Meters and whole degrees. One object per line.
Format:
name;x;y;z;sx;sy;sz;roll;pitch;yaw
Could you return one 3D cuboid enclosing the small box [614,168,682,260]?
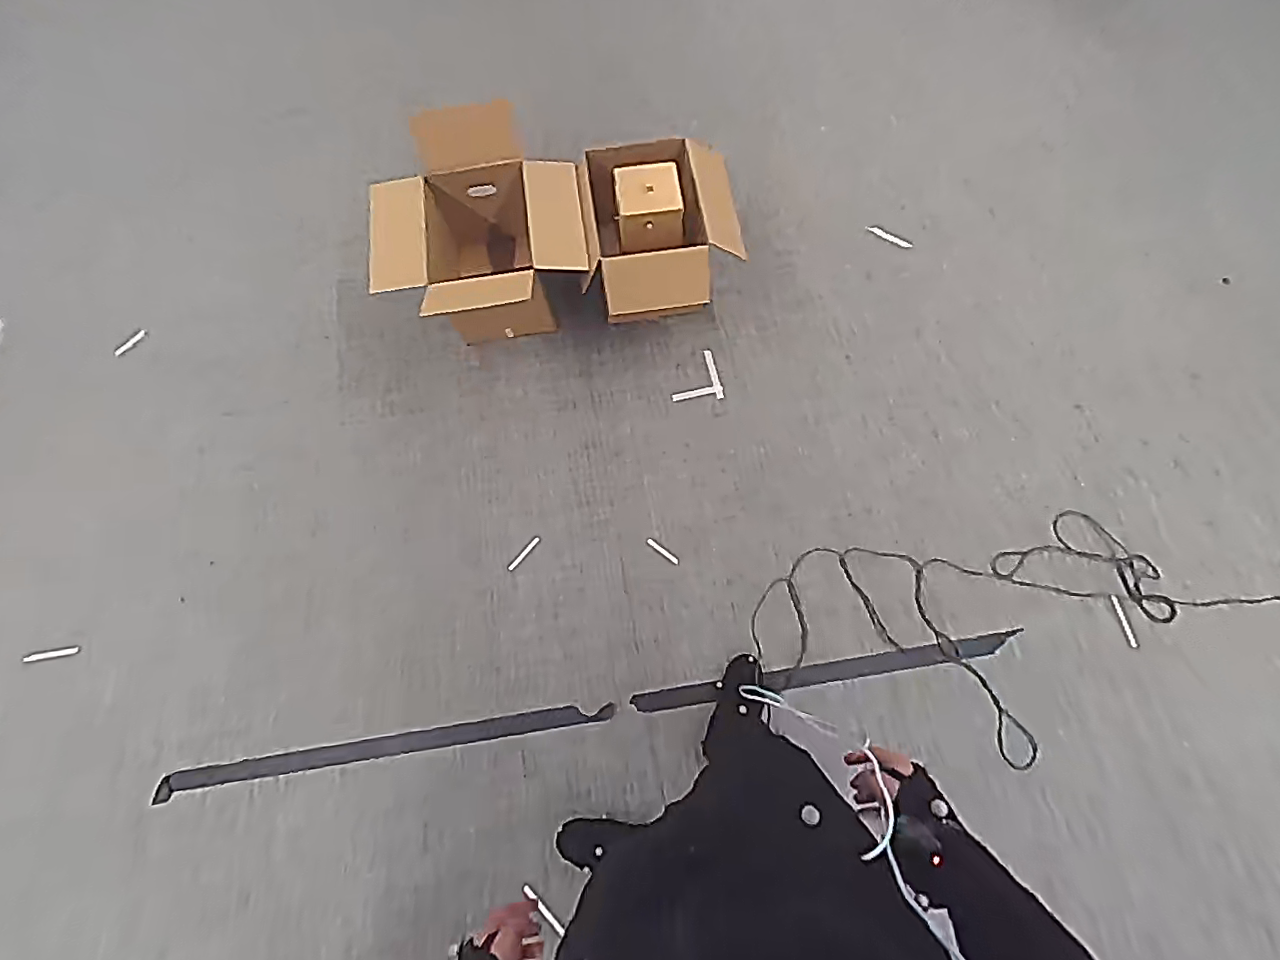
small box;0.022;-0.770;1.579;0.179;0.176;0.168;-8;74;0
